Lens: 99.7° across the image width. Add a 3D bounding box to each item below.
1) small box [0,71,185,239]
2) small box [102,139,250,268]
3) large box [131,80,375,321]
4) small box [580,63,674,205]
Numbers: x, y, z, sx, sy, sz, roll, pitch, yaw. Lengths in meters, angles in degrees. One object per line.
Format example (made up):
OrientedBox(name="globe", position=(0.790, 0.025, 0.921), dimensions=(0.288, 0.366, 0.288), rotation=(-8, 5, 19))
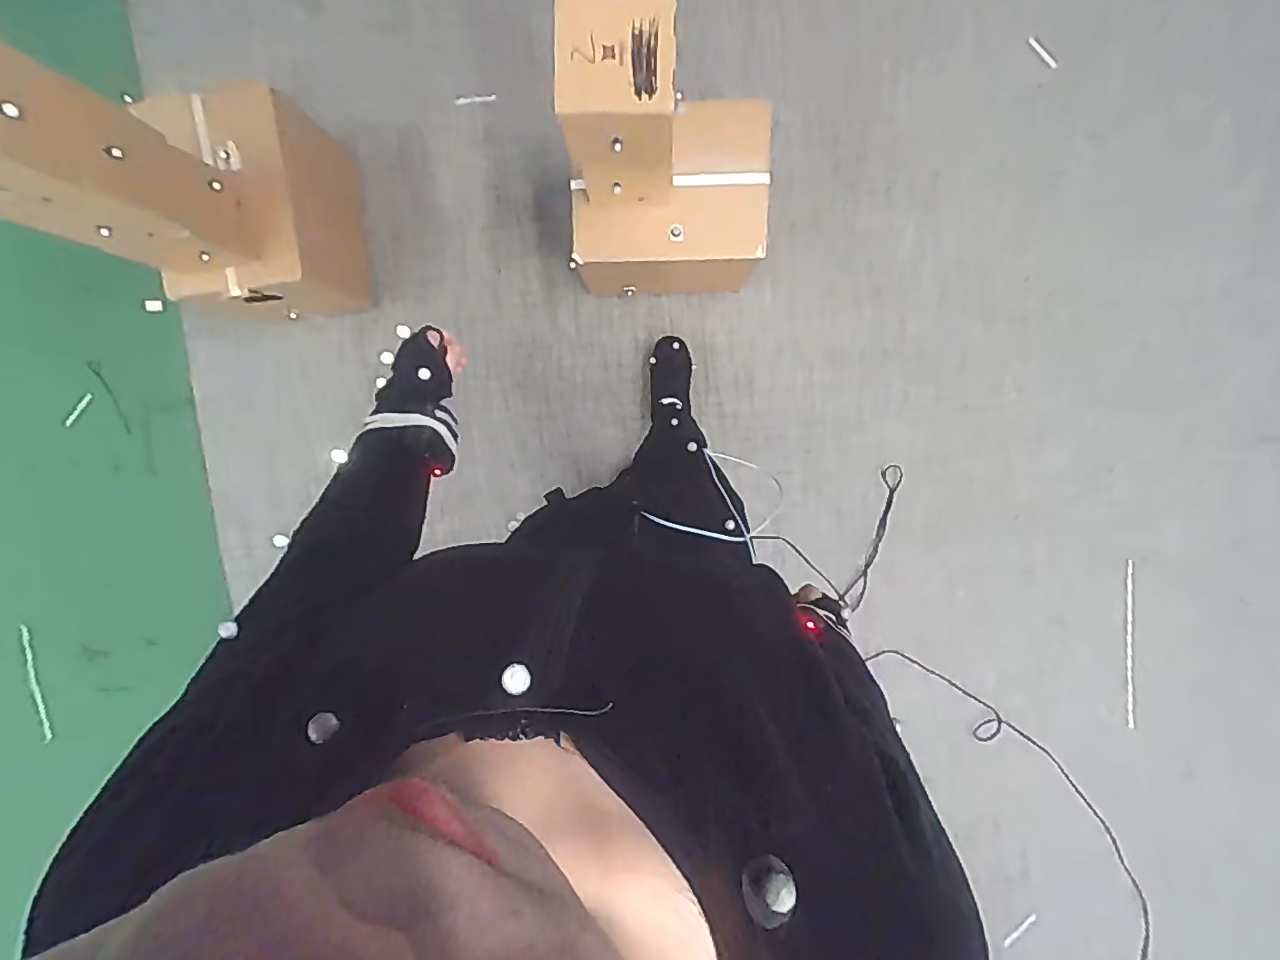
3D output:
OrientedBox(name="small box", position=(-0.910, -0.517, 0.893), dimensions=(0.168, 0.176, 0.179), rotation=(-11, 95, 3))
OrientedBox(name="small box", position=(-0.904, -0.529, 1.056), dimensions=(0.179, 0.176, 0.168), rotation=(-7, 96, 4))
OrientedBox(name="large box", position=(-0.887, -0.628, 1.290), dimensions=(0.320, 0.320, 0.408), rotation=(-6, 96, 3))
OrientedBox(name="small box", position=(-0.020, -0.636, 1.015), dimensions=(0.168, 0.176, 0.179), rotation=(1, 95, 1))
